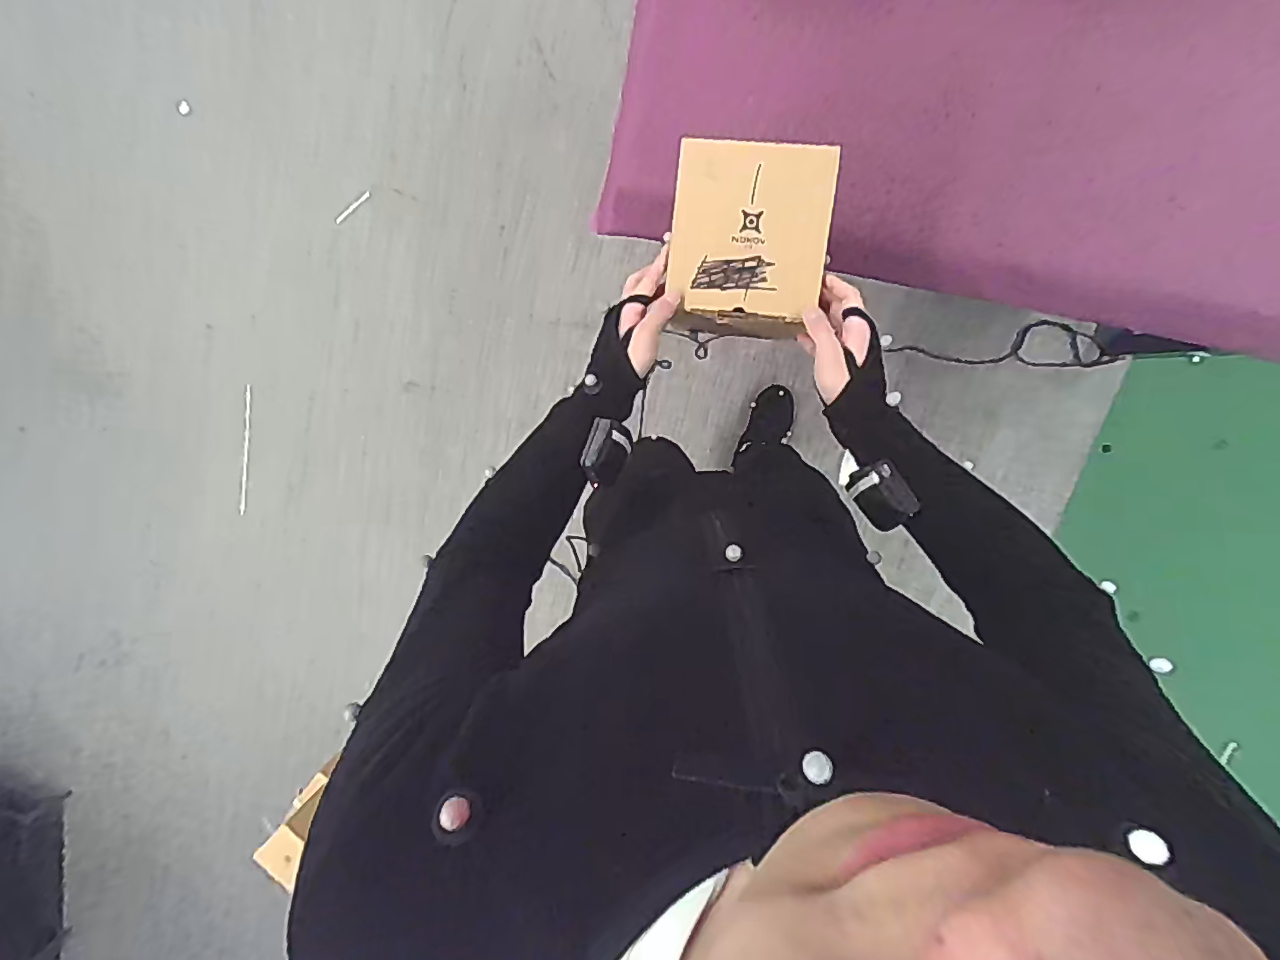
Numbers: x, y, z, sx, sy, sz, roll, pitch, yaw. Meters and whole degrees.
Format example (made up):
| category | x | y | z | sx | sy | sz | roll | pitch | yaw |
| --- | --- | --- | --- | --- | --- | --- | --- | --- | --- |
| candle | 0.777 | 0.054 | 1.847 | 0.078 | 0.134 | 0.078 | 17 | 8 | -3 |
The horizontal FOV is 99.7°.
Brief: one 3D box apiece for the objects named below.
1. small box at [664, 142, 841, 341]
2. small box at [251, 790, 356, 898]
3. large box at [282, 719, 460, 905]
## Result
| category | x | y | z | sx | sy | sz | roll | pitch | yaw |
| --- | --- | --- | --- | --- | --- | --- | --- | --- | --- |
| small box | 0.126 | -0.270 | 0.649 | 0.168 | 0.176 | 0.179 | 7 | 97 | 6 |
| small box | -1.009 | 1.094 | 1.636 | 0.168 | 0.176 | 0.179 | 44 | 102 | -1 |
| large box | -0.925 | 1.134 | 1.882 | 0.408 | 0.320 | 0.320 | 38 | 105 | 0 |
